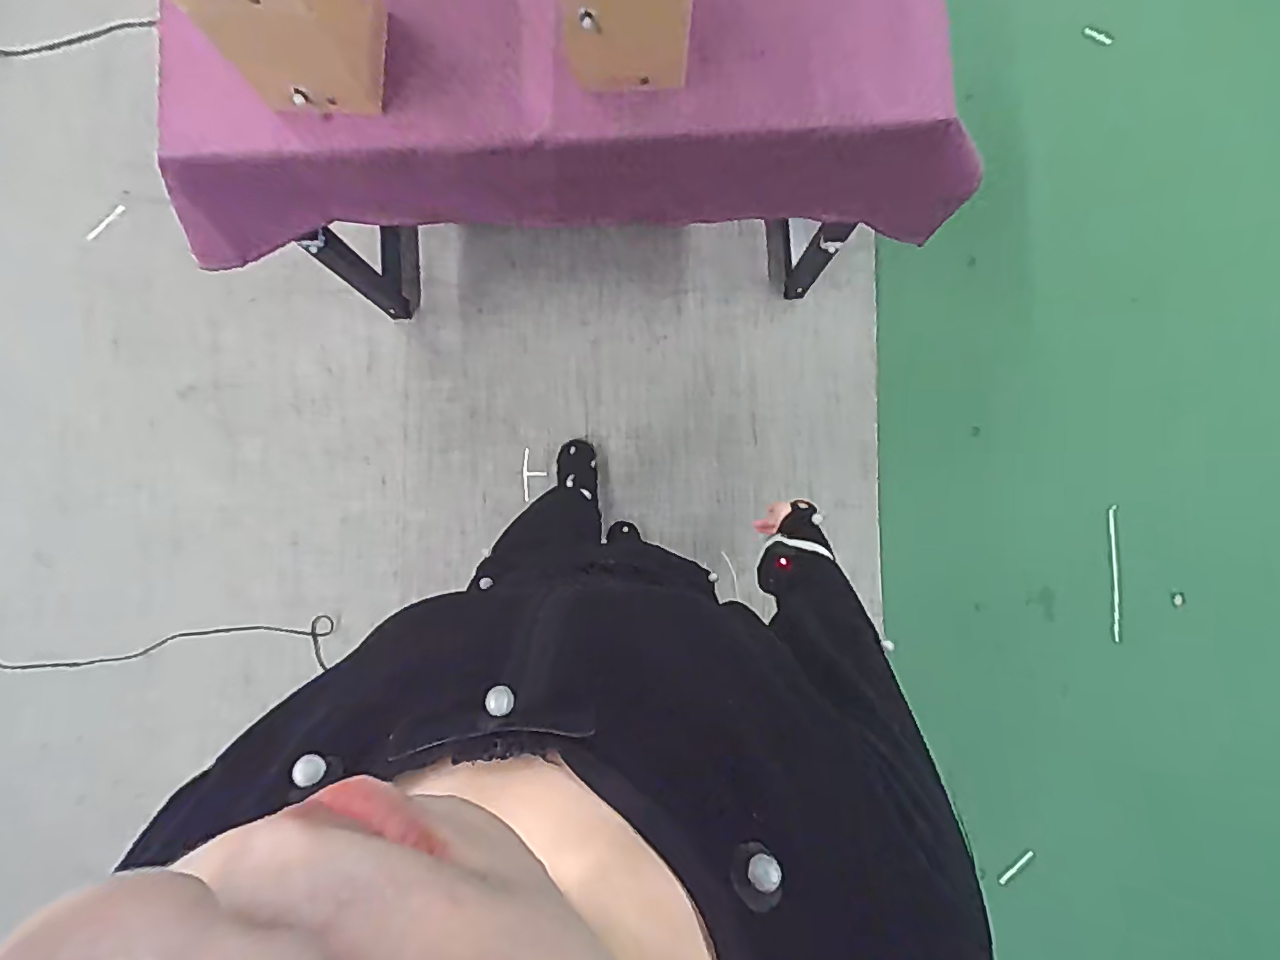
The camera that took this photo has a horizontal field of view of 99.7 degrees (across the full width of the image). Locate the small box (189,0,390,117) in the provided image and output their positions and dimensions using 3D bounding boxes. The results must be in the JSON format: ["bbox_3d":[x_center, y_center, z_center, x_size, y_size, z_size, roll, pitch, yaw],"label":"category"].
[{"bbox_3d":[-0.464,-0.647,0.744,0.168,0.176,0.179,2,87,0],"label":"small box"}]
